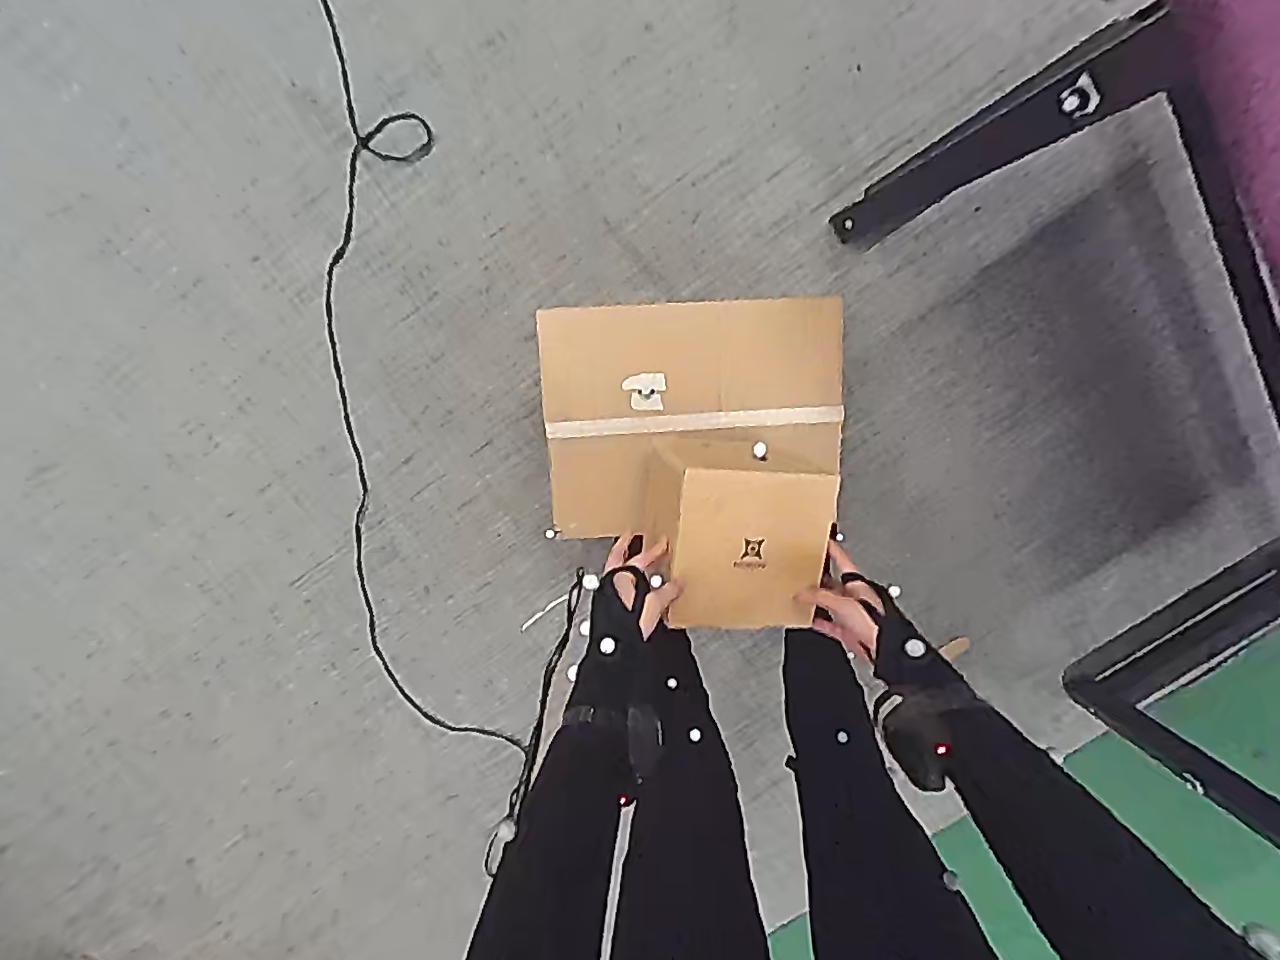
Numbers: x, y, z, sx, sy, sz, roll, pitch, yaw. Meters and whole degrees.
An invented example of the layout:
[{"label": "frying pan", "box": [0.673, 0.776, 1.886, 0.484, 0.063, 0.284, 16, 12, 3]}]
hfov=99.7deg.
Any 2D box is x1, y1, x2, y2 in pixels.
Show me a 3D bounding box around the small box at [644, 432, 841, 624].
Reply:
[{"label": "small box", "box": [0.101, 0.046, 0.623, 0.168, 0.176, 0.179, 2, 106, -10]}]
